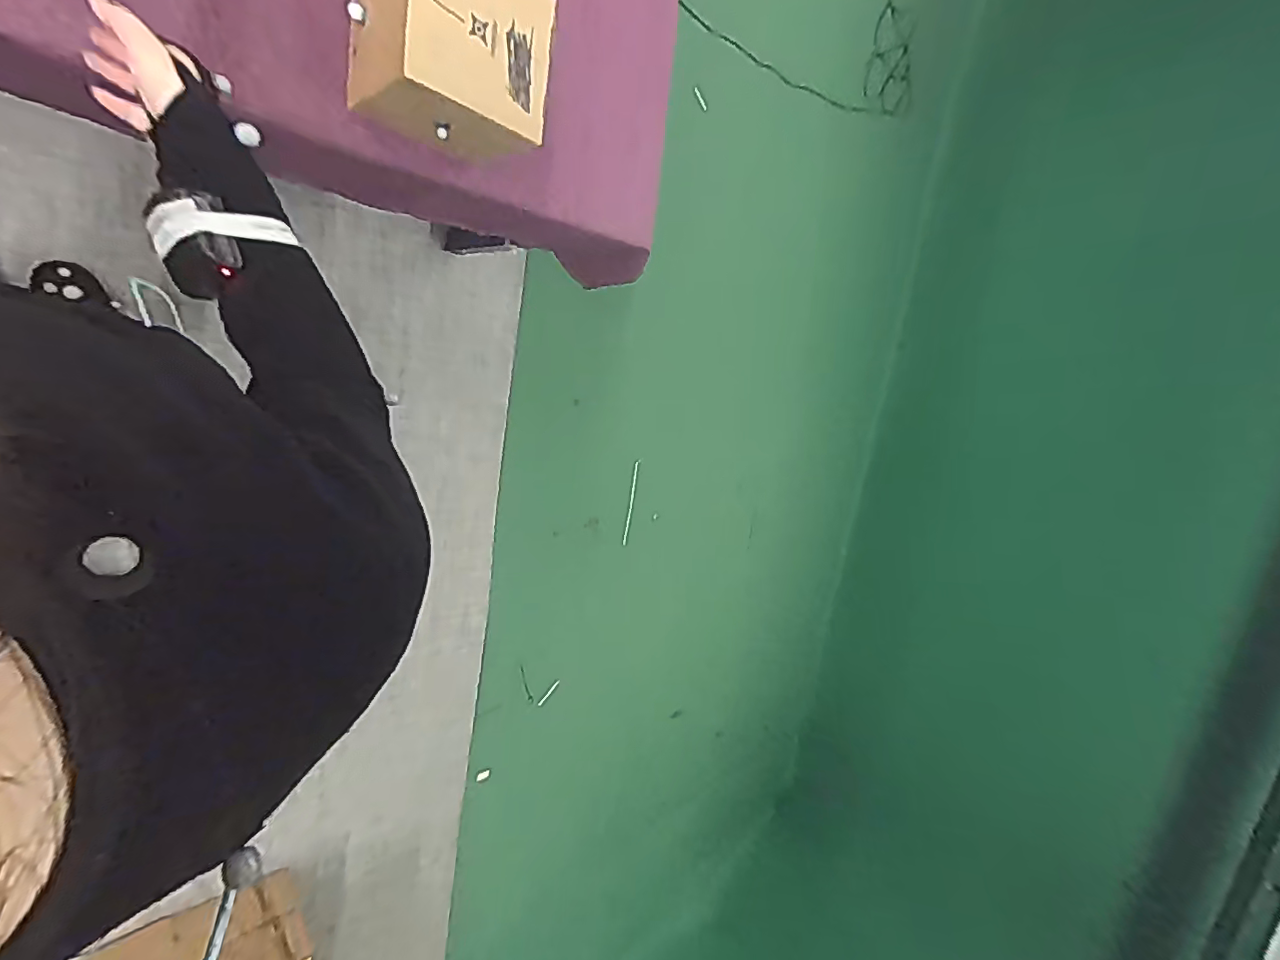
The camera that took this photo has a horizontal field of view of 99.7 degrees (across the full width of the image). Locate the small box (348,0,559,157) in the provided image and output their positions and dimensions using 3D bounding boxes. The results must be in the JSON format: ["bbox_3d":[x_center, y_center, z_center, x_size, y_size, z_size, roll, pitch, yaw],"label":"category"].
[{"bbox_3d":[-0.225,-0.513,0.650,0.179,0.176,0.168,-2,105,-46],"label":"small box"}]
